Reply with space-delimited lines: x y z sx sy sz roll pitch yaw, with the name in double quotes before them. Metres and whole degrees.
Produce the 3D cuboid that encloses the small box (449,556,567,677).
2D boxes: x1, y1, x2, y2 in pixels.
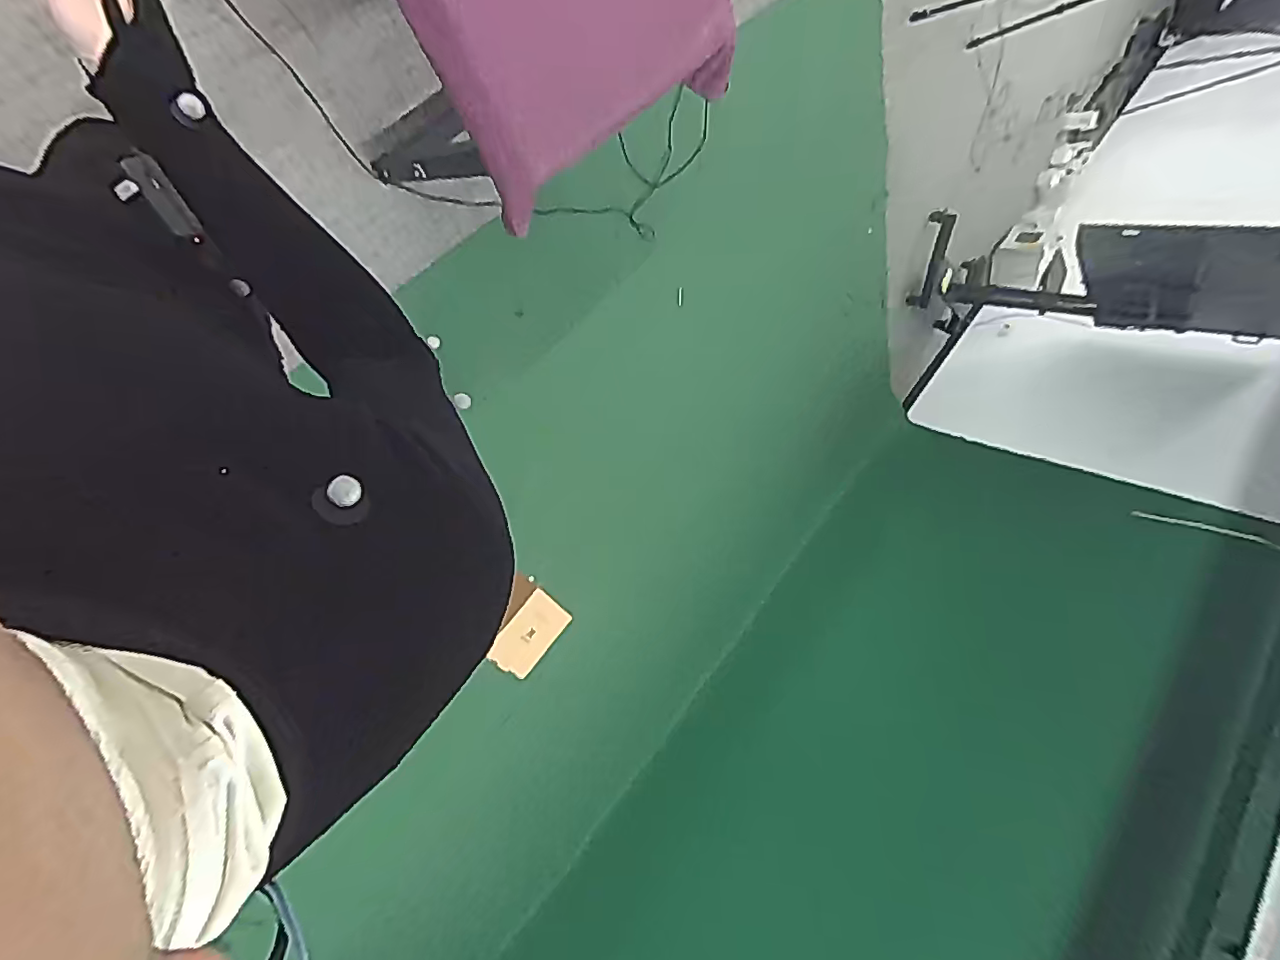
"small box" -0.307 0.307 1.231 0.179 0.176 0.168 -50 139 -18
